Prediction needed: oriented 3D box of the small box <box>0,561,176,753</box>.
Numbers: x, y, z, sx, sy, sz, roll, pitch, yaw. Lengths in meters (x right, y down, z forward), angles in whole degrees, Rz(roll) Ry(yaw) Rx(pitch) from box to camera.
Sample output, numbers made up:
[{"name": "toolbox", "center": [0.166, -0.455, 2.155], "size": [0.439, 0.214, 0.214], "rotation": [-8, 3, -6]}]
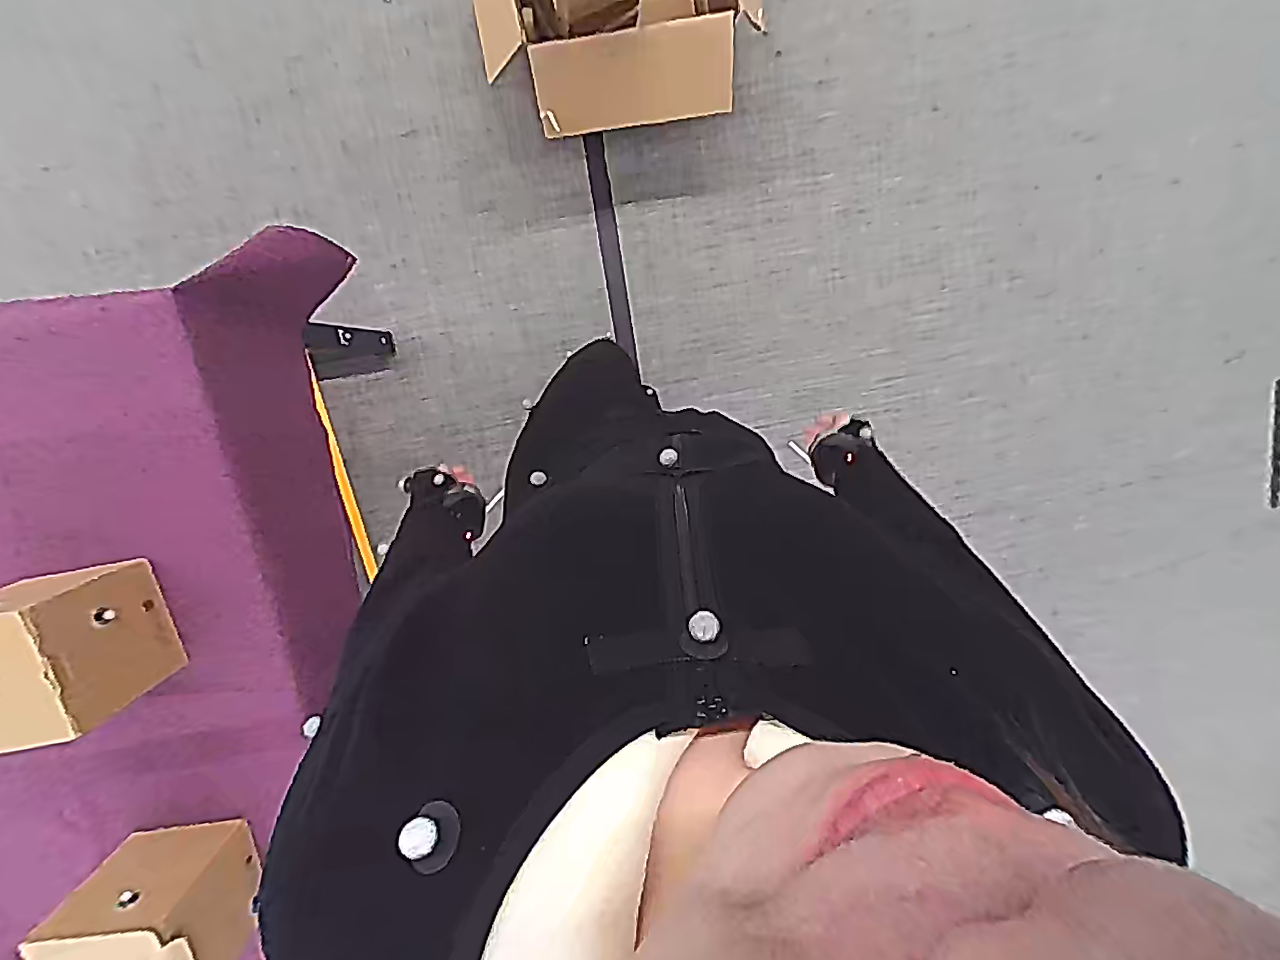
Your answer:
[{"name": "small box", "center": [-0.740, 0.215, 0.679], "size": [0.179, 0.176, 0.168], "rotation": [-10, 102, 0]}]

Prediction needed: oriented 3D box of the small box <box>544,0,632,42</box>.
[{"name": "small box", "center": [-0.111, -0.986, 1.016], "size": [0.179, 0.176, 0.168], "rotation": [-32, 105, 1]}]

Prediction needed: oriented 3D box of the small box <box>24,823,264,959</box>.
[{"name": "small box", "center": [-0.676, 0.624, 0.769], "size": [0.179, 0.176, 0.168], "rotation": [-7, 102, -1]}]
